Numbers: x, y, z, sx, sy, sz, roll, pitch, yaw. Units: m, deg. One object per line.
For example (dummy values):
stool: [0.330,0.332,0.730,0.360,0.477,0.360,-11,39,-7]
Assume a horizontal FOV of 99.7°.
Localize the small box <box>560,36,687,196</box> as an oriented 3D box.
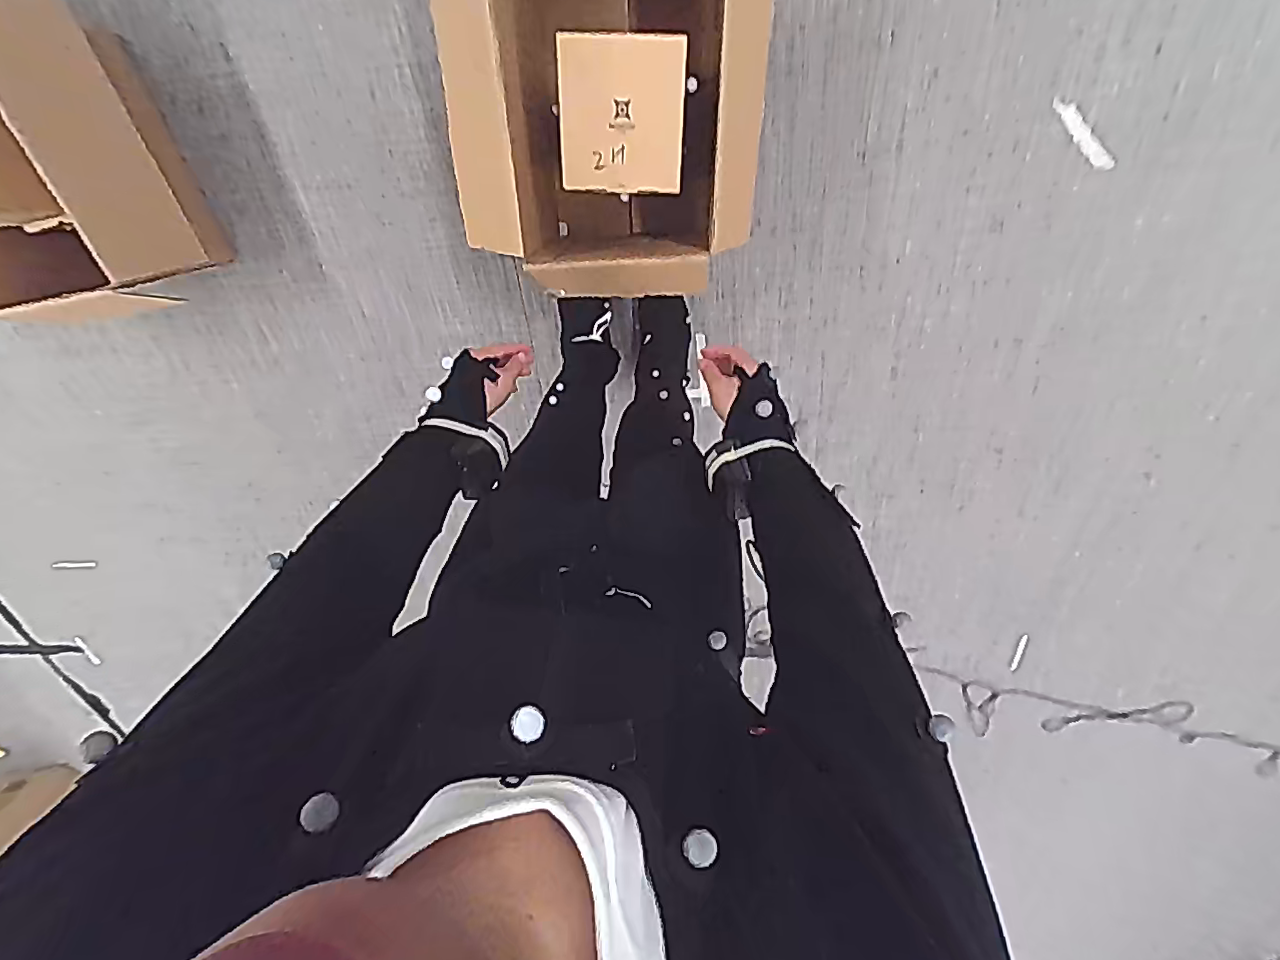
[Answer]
small box: [-0.024,-0.519,0.793,0.168,0.176,0.179,2,119,0]
